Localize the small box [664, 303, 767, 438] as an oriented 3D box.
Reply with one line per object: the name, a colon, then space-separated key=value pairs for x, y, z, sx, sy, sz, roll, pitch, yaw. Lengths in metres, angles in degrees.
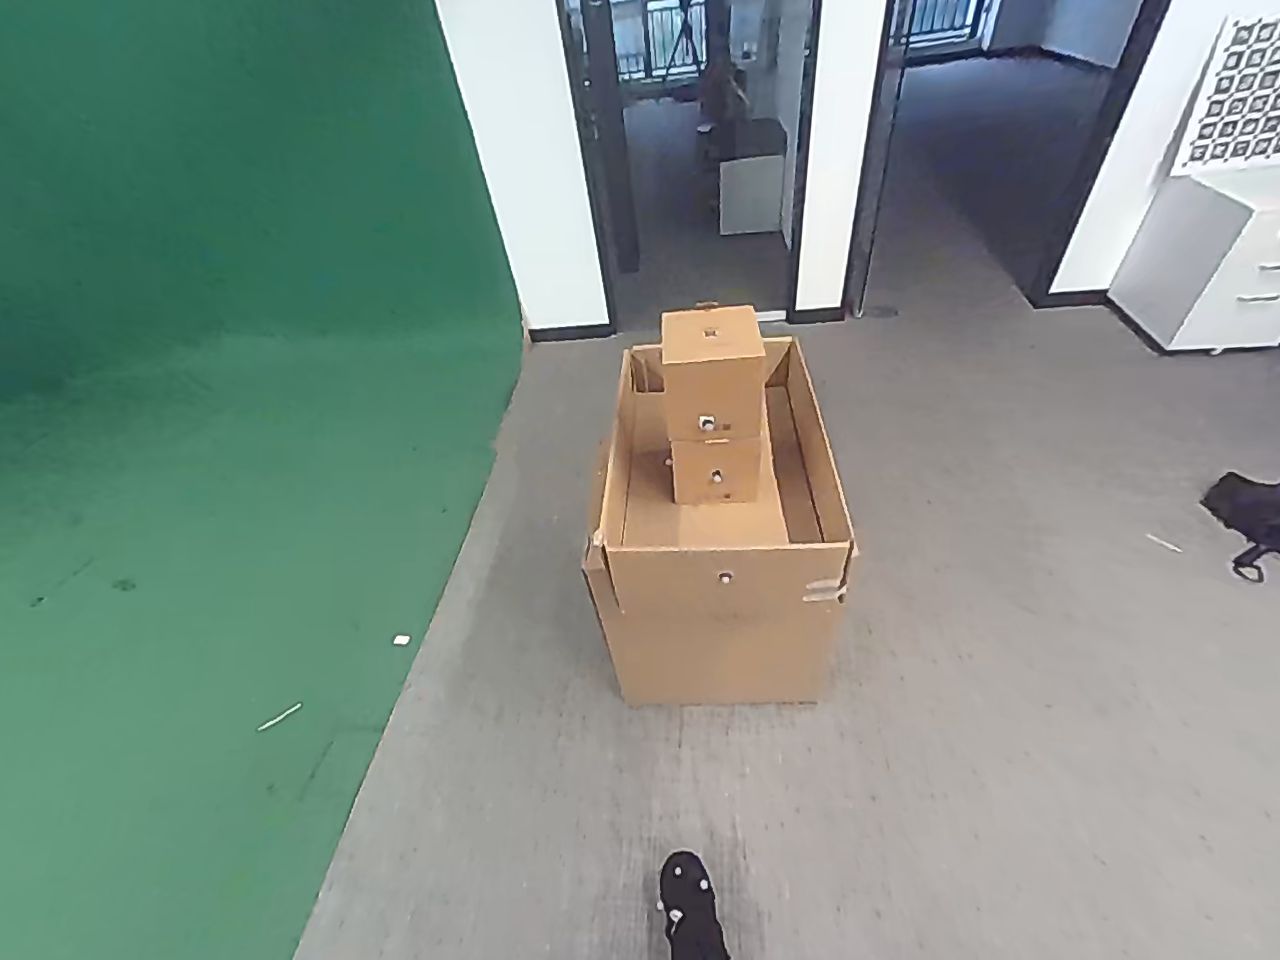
small box: x=0.130 y=-0.195 z=0.972 sx=0.168 sy=0.176 sz=0.179 roll=-4 pitch=45 yaw=5
